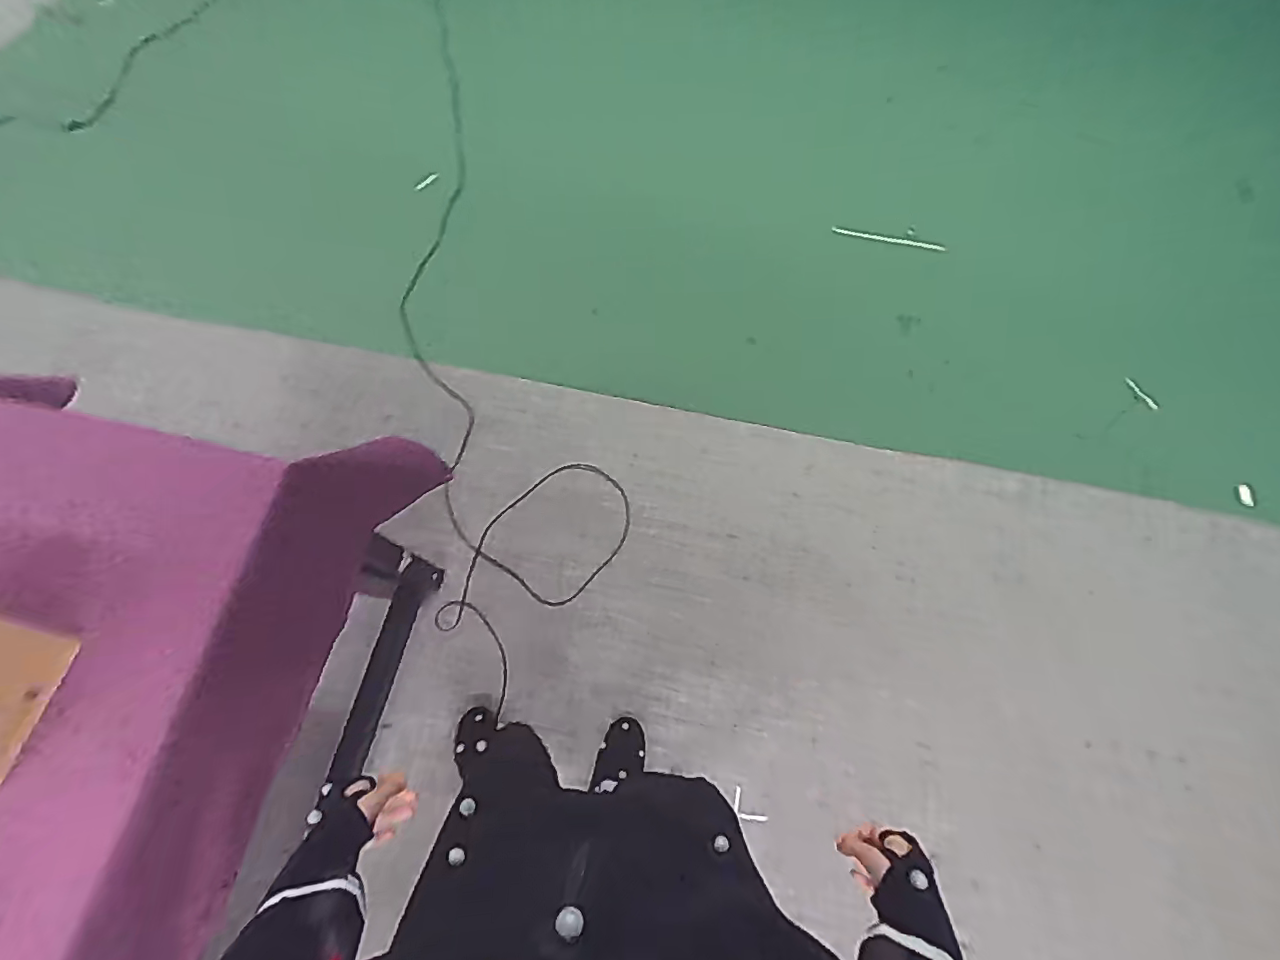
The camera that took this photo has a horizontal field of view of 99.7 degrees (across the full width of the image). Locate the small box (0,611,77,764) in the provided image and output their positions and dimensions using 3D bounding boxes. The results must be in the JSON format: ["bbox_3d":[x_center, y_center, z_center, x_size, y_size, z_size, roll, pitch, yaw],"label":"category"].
[{"bbox_3d":[-0.769,0.216,0.558,0.179,0.176,0.168,13,70,4],"label":"small box"}]
